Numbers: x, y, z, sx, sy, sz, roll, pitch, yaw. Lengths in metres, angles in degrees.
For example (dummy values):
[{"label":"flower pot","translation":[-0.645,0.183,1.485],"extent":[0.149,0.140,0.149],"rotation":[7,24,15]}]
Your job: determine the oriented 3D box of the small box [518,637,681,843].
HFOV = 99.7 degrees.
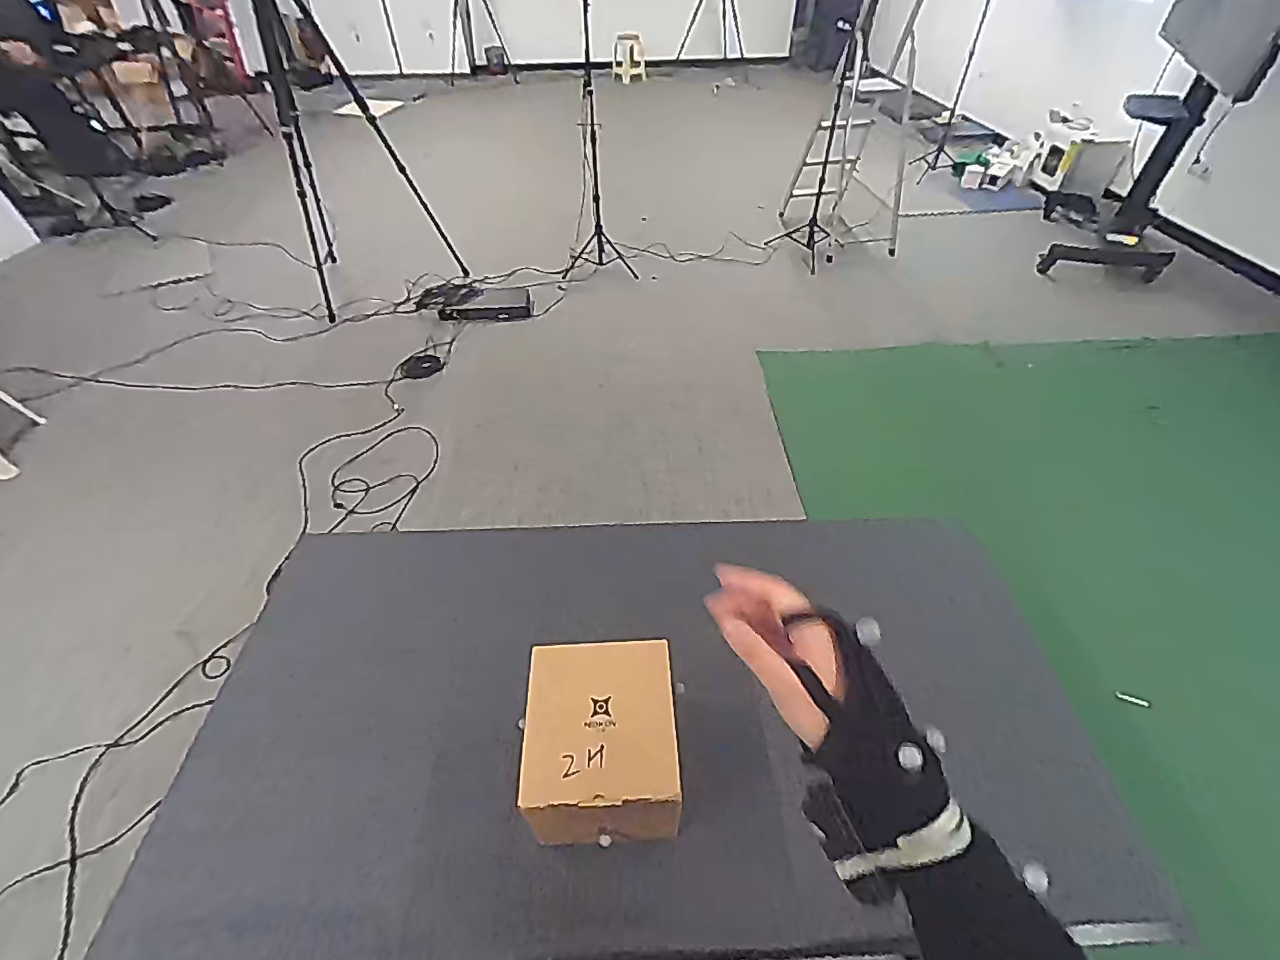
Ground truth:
[{"label":"small box","translation":[-0.043,0.311,0.650],"extent":[0.168,0.176,0.179],"rotation":[-3,45,-1]}]
